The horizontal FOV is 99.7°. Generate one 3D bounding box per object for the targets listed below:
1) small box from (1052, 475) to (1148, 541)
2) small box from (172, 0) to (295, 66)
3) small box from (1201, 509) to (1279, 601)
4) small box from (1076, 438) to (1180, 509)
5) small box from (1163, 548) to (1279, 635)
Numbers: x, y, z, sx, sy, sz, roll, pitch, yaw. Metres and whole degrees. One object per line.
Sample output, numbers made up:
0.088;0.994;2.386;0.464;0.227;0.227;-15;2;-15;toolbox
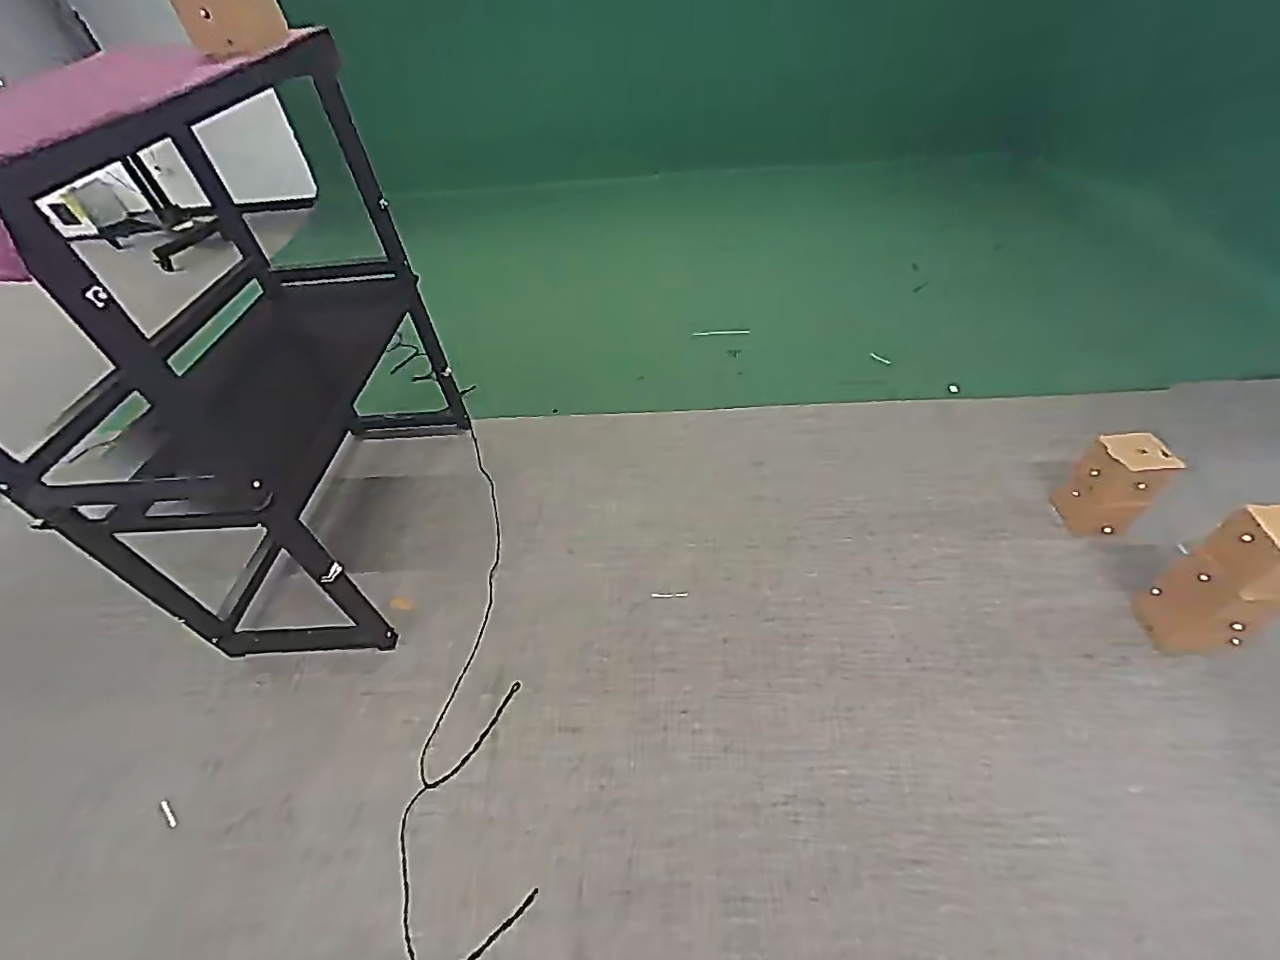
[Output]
1.611;0.098;1.909;0.168;0.176;0.179;-3;47;4;small box
-1.031;-1.175;1.379;0.168;0.176;0.179;1;47;6;small box
1.599;0.193;1.362;0.168;0.176;0.179;1;46;8;small box
1.600;-0.019;1.795;0.179;0.176;0.168;-5;46;2;small box
1.609;0.303;1.480;0.168;0.176;0.179;-2;47;5;small box
